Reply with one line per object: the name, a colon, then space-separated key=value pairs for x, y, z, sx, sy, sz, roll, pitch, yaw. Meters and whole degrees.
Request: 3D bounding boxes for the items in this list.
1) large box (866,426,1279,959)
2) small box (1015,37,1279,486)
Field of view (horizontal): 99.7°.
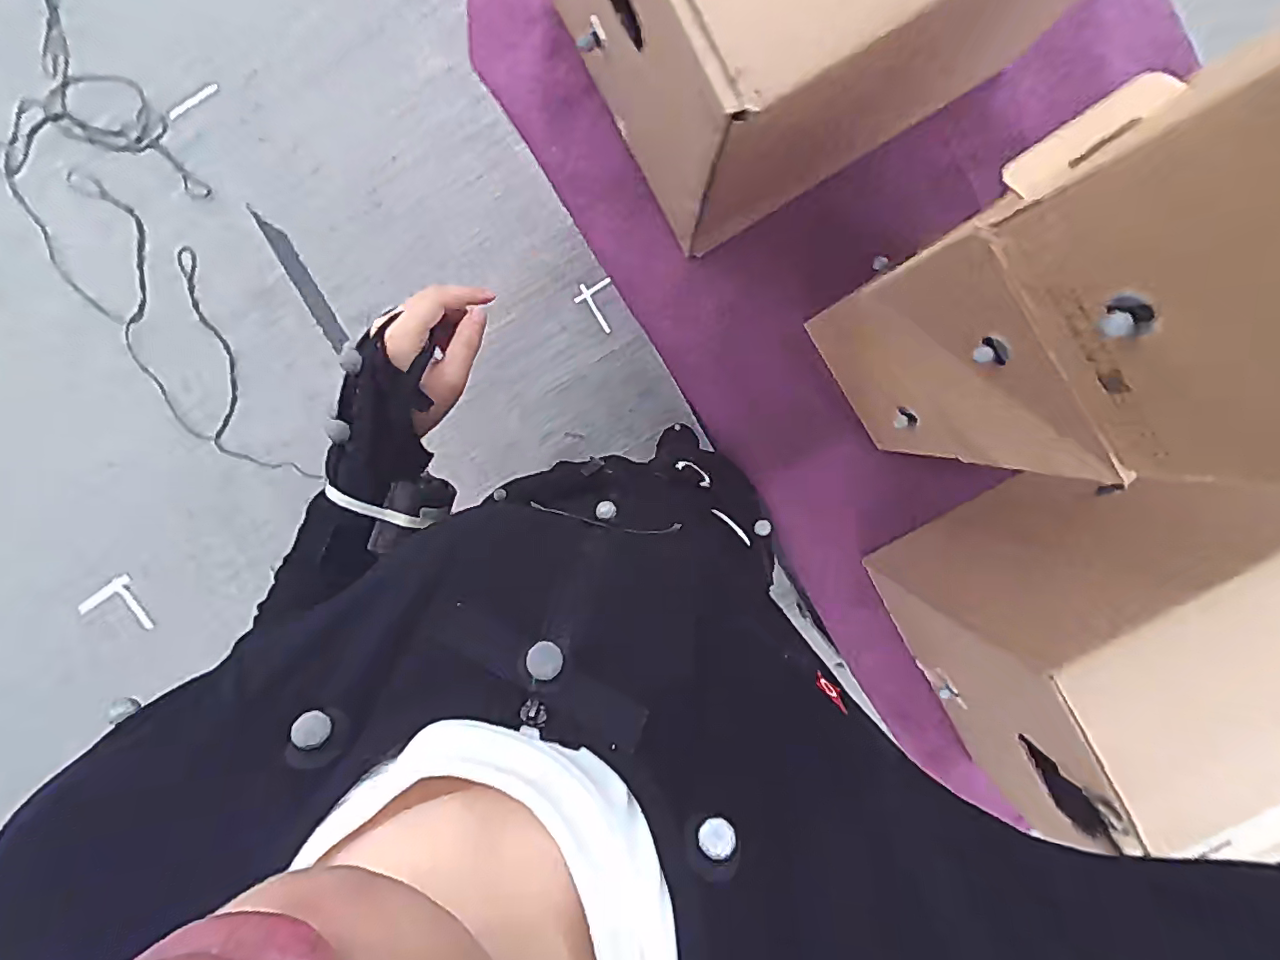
large box: x=0.508 y=0.145 z=0.498 sx=0.408 sy=0.320 sz=0.320 roll=-30 pitch=95 yaw=2
small box: x=0.310 y=-0.108 z=0.214 sx=0.179 sy=0.176 sz=0.168 roll=-35 pitch=95 yaw=4
